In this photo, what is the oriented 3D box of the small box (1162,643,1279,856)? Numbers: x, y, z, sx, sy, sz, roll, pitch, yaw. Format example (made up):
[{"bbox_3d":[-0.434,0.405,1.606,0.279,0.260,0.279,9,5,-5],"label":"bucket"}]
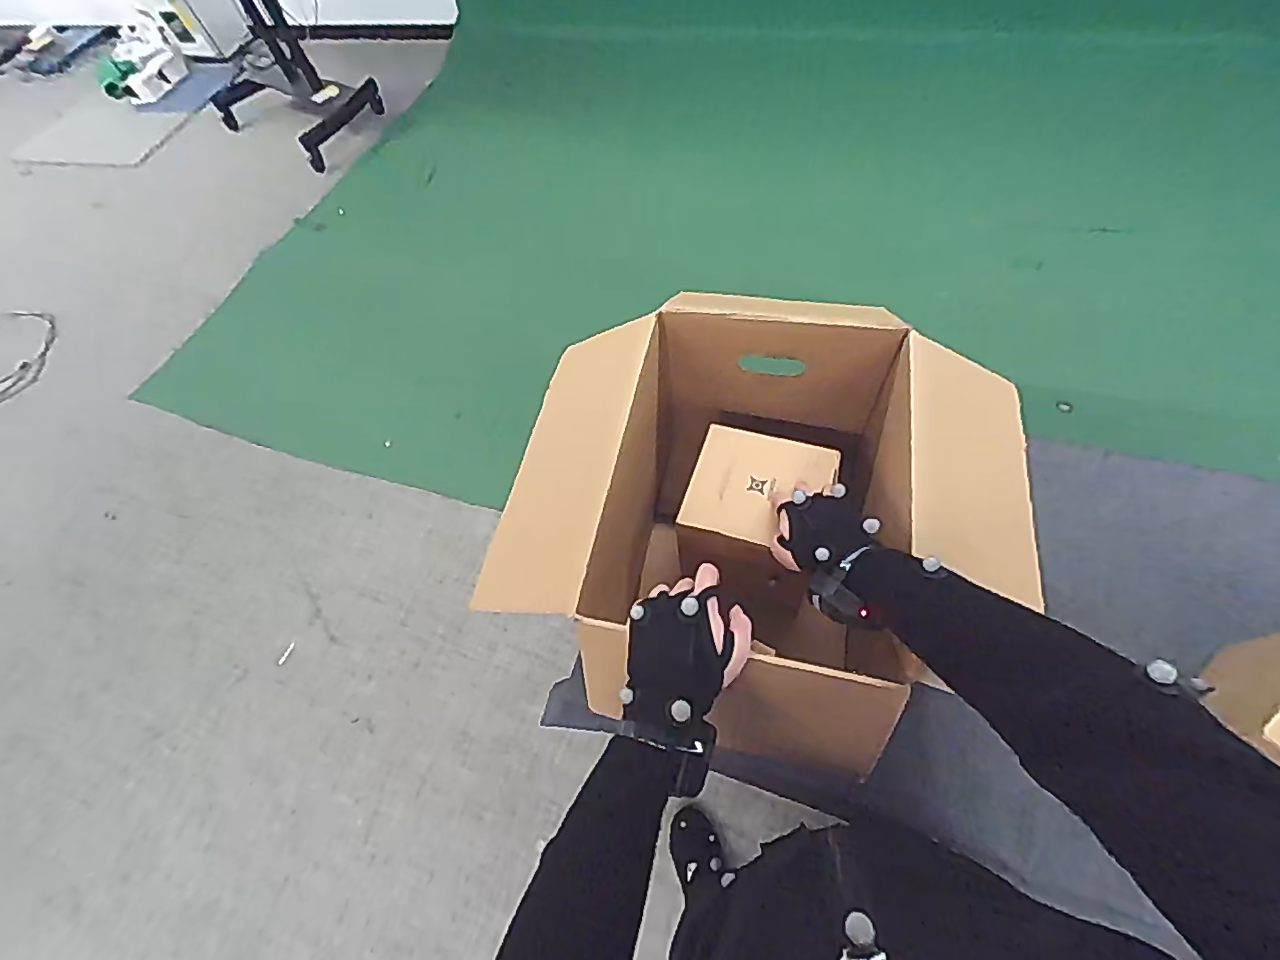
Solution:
[{"bbox_3d":[0.721,0.289,0.569,0.179,0.176,0.168,-37,62,-12],"label":"small box"}]
